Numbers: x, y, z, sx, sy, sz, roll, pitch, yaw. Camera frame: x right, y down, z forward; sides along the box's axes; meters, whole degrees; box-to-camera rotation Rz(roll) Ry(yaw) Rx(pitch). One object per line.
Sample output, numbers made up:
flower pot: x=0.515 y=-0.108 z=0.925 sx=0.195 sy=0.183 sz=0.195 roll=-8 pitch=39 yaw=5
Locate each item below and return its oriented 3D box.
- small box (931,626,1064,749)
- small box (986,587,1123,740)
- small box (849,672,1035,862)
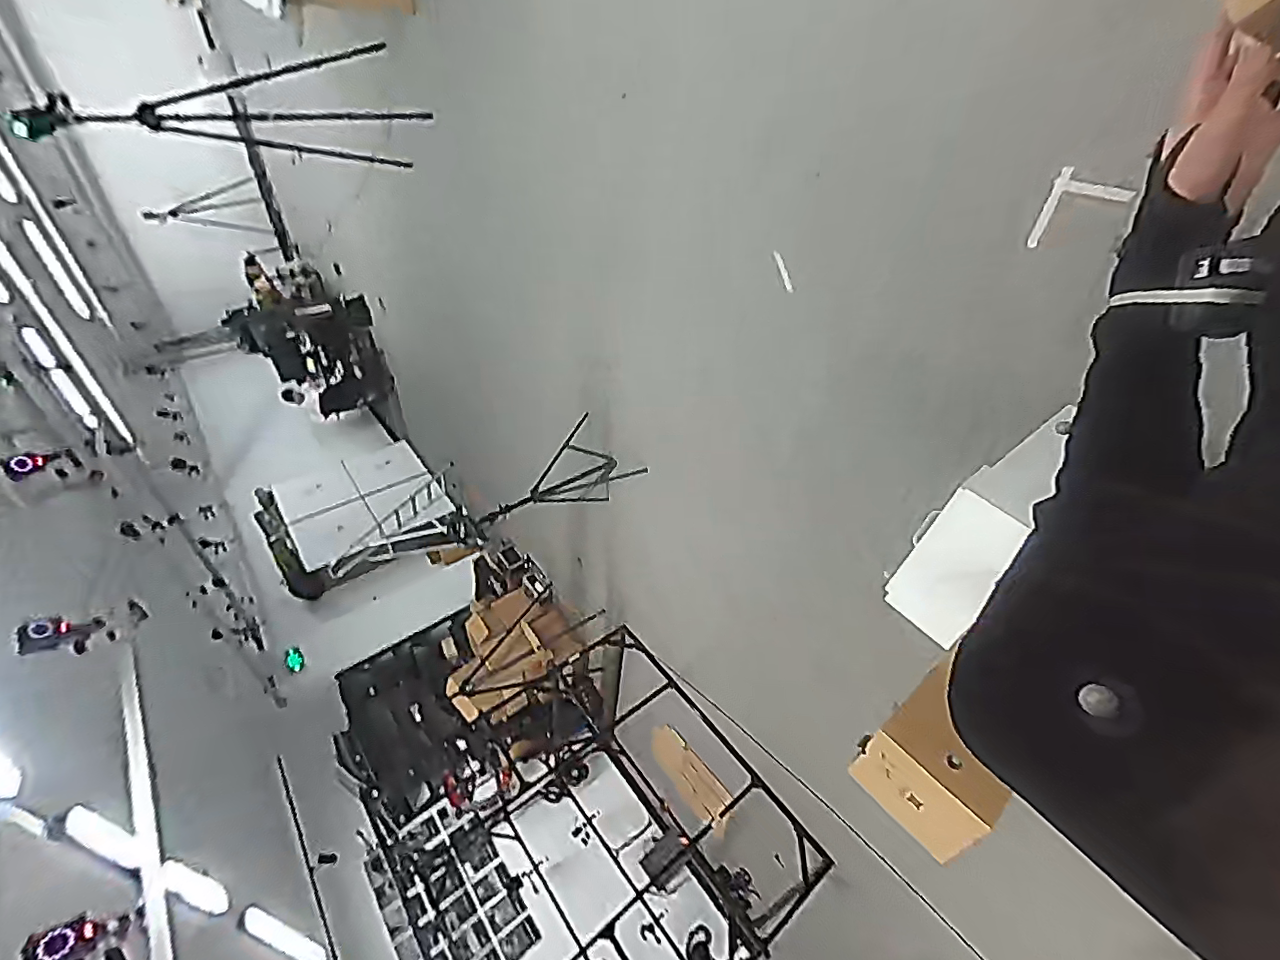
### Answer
small box: x=0.600 y=0.393 z=0.952 sx=0.168 sy=0.176 sz=0.179 roll=39 pitch=142 yaw=36
small box: x=0.743 y=0.333 z=1.009 sx=0.179 sy=0.176 sz=0.168 roll=38 pitch=141 yaw=37
small box: x=0.475 y=0.447 z=0.858 sx=0.179 sy=0.176 sz=0.168 roll=41 pitch=142 yaw=34
